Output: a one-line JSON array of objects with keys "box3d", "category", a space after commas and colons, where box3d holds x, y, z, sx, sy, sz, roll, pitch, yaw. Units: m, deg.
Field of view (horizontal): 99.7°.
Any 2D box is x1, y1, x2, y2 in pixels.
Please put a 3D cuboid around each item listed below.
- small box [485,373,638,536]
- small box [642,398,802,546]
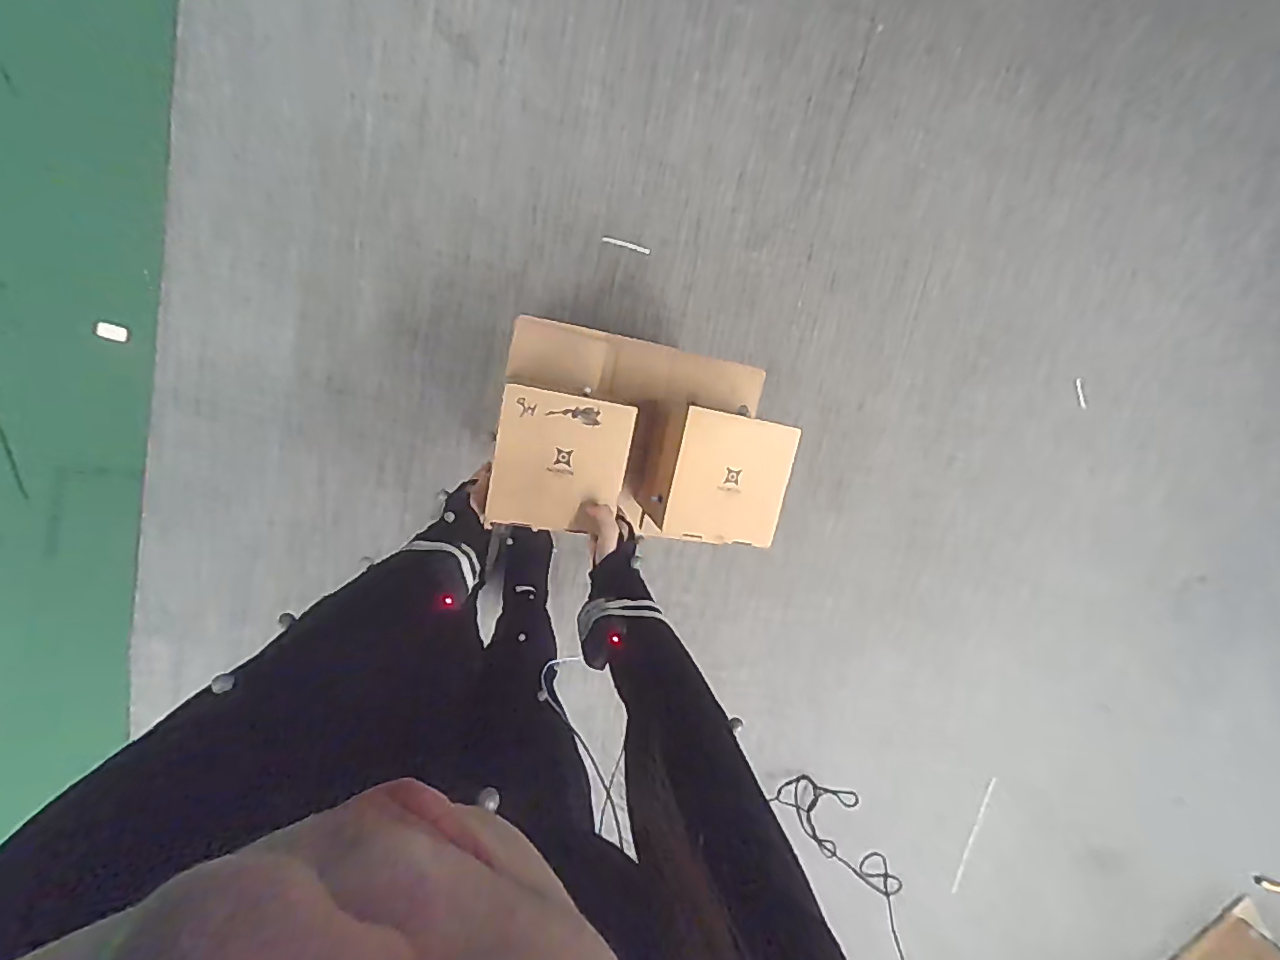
[{"box3d": [-0.115, -0.042, 0.749, 0.168, 0.176, 0.179, 9, 103, -16], "category": "small box"}, {"box3d": [0.110, -0.020, 0.805, 0.168, 0.176, 0.179, 10, 101, -14], "category": "small box"}]
